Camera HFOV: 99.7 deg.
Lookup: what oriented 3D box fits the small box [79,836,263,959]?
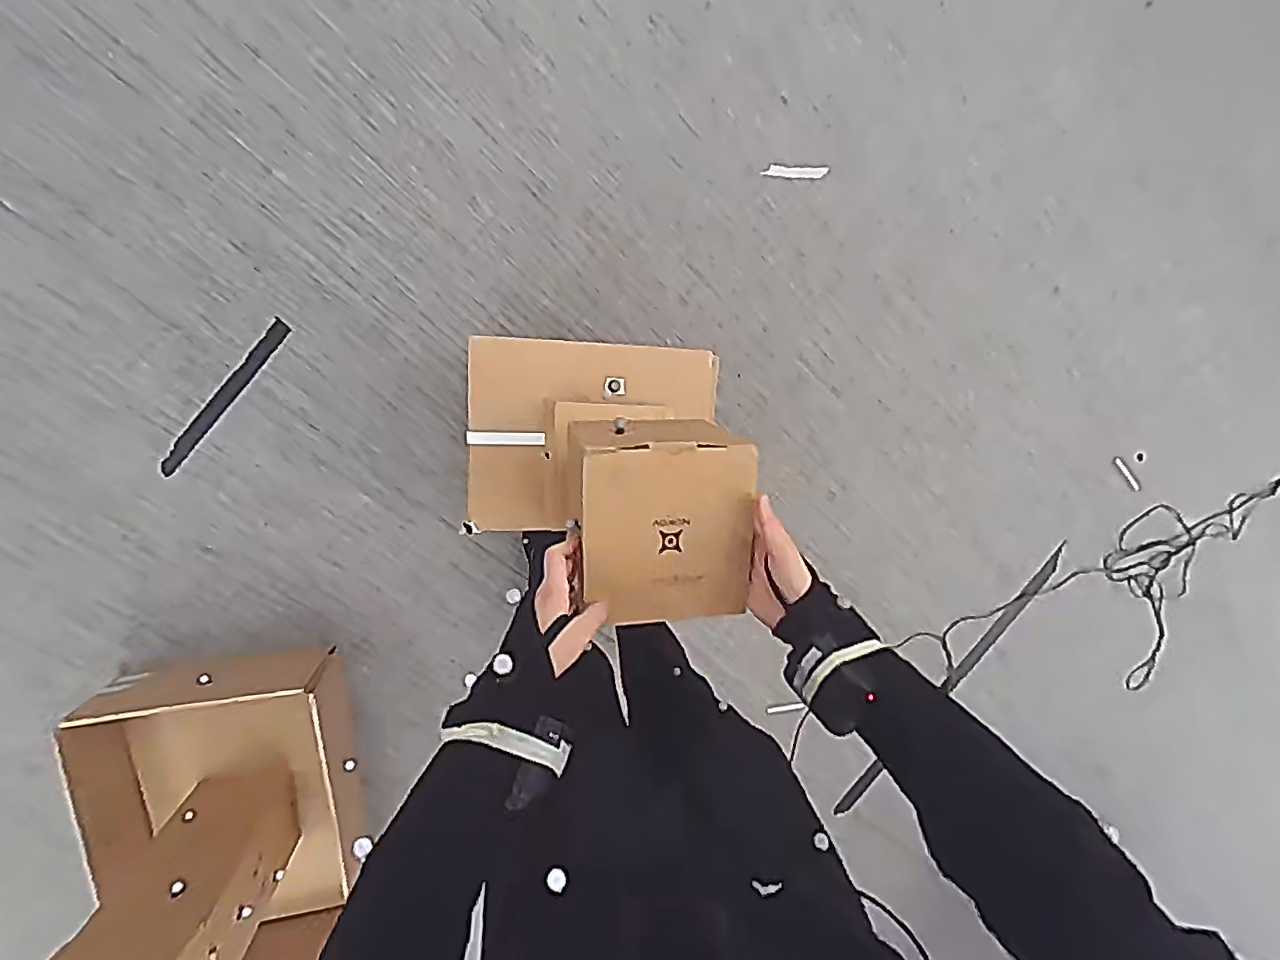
[{"bbox_3d":[-0.751,0.727,0.893,0.179,0.176,0.168,0,100,-13],"label":"small box"}]

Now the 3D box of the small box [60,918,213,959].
[{"bbox_3d":[-0.723,0.750,0.733,0.179,0.176,0.168,-1,100,-13],"label":"small box"}]

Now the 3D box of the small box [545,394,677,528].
[{"bbox_3d":[-0.052,-0.034,0.811,0.168,0.176,0.179,0,100,-14],"label":"small box"}]

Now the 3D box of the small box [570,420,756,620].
[{"bbox_3d":[0.013,0.028,0.587,0.168,0.176,0.179,-3,105,-11],"label":"small box"}]
